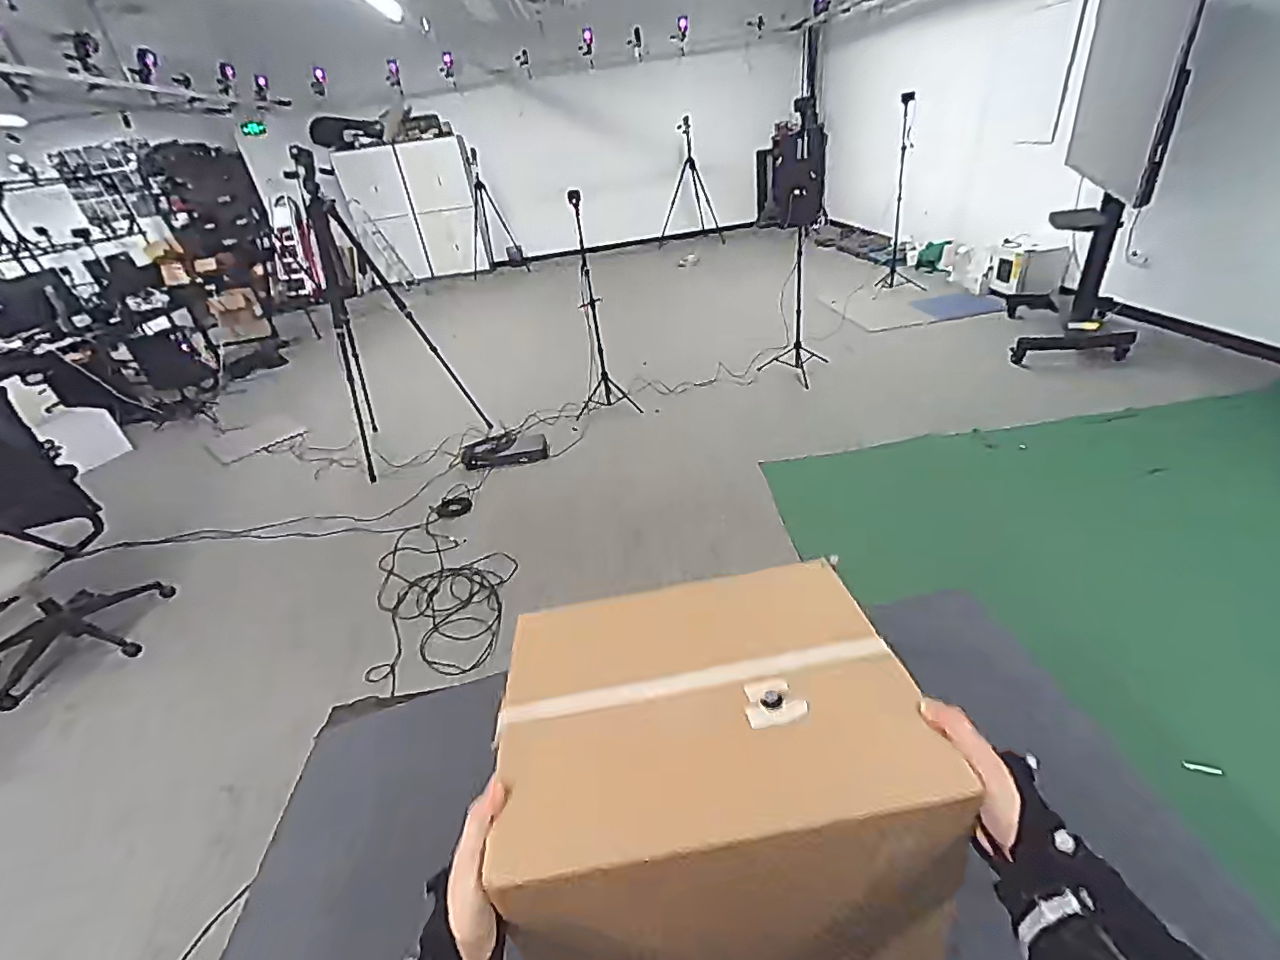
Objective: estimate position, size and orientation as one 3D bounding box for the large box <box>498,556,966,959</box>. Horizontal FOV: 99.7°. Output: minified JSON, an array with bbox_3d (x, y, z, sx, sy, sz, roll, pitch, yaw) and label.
[{"bbox_3d":[0.081,0.335,0.638,0.408,0.320,0.320,-10,29,-2],"label":"large box"}]
